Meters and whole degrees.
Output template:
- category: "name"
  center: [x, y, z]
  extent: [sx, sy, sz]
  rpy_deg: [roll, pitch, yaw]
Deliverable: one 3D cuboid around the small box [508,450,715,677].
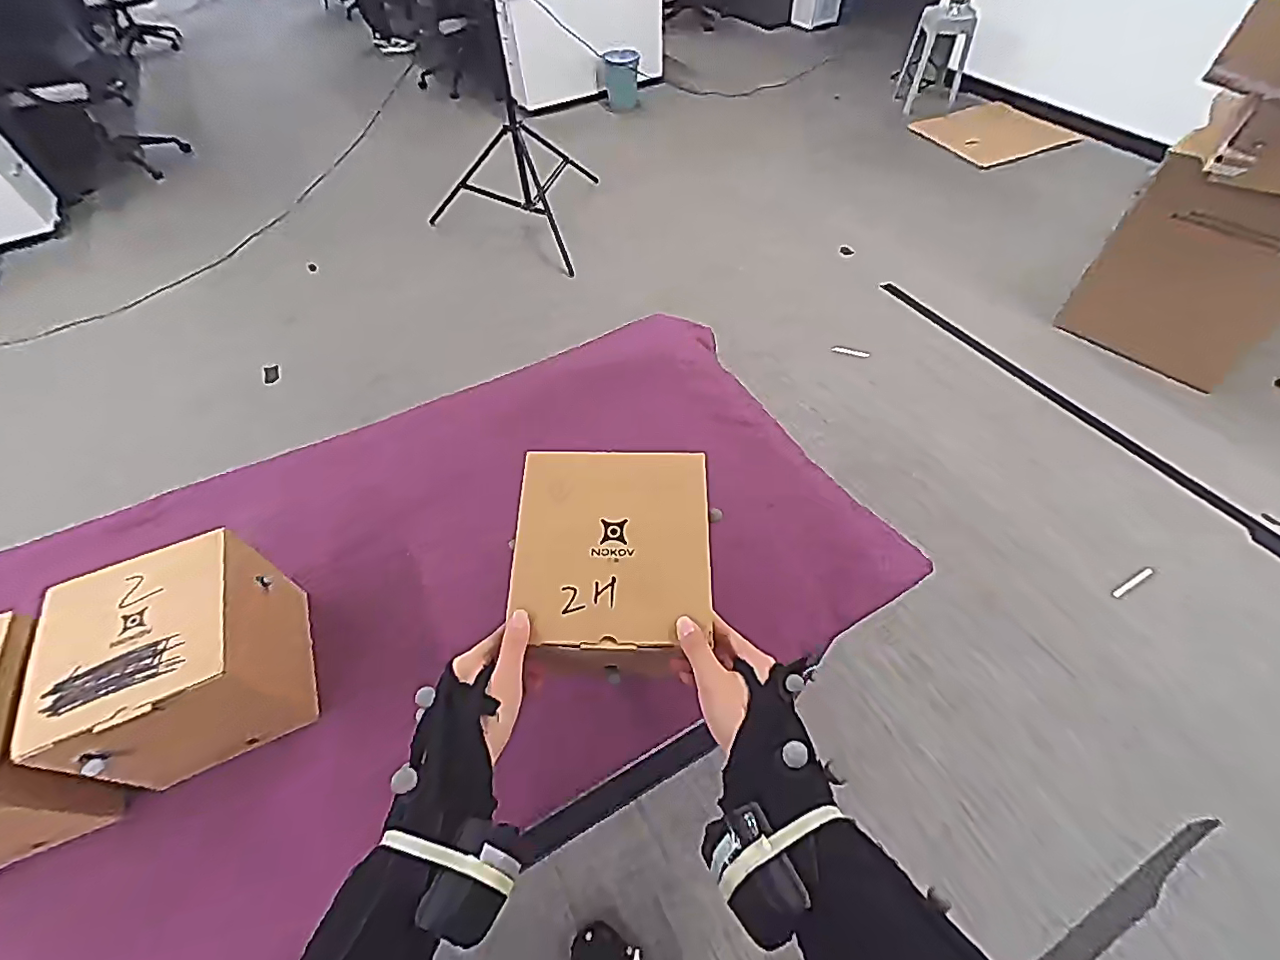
- category: "small box"
  center: [-0.021, 0.088, 0.530]
  extent: [0.168, 0.176, 0.179]
  rpy_deg: [0, 63, 1]
